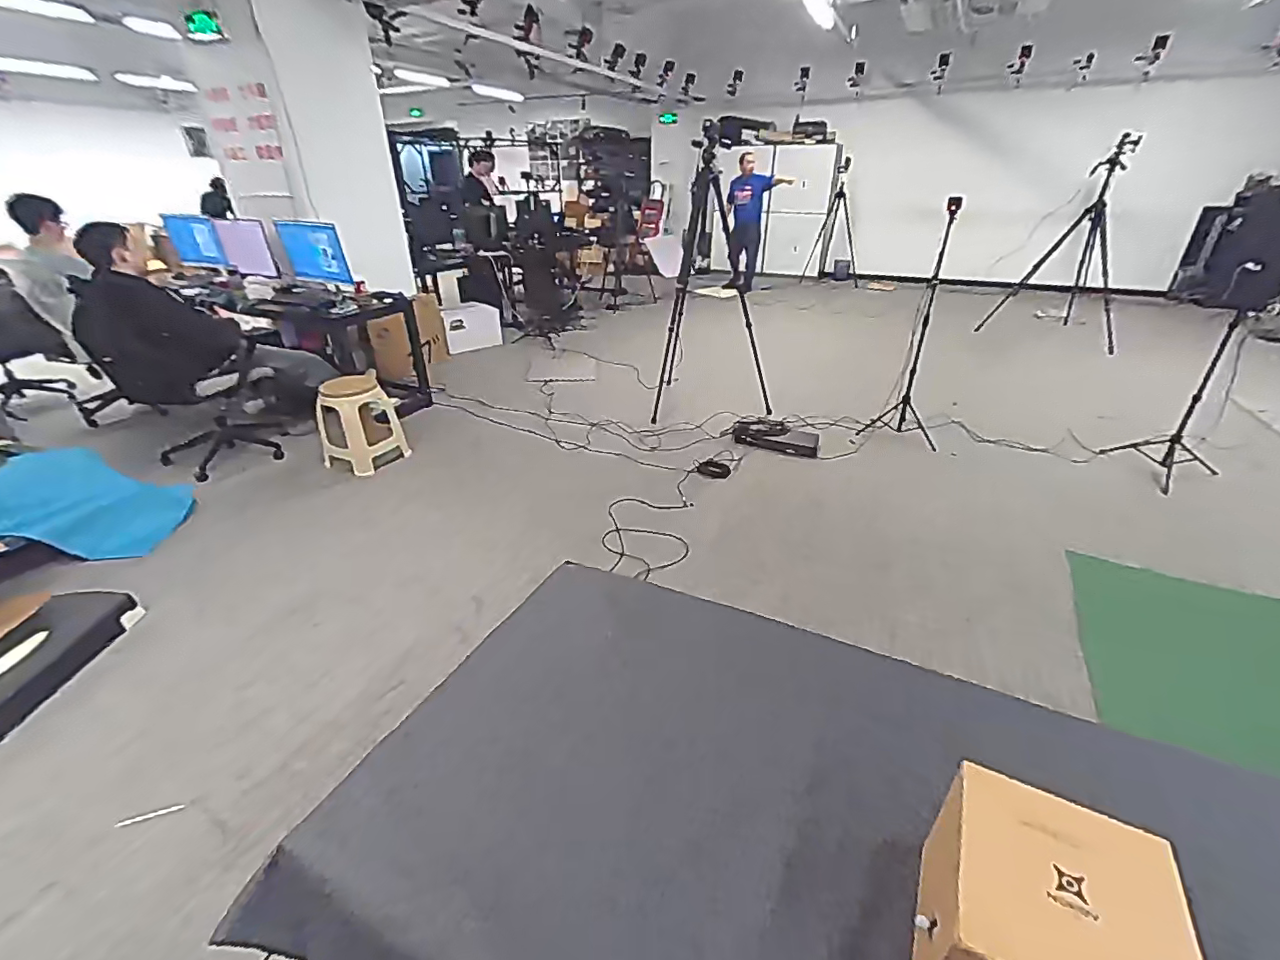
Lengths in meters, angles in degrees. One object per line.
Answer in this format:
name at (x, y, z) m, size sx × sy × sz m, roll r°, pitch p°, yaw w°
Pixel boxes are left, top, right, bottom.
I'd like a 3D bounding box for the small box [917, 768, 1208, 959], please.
small box at (0.357, 0.413, 0.481) m, size 0.168 × 0.176 × 0.179 m, roll 14°, pitch 31°, yaw 25°
